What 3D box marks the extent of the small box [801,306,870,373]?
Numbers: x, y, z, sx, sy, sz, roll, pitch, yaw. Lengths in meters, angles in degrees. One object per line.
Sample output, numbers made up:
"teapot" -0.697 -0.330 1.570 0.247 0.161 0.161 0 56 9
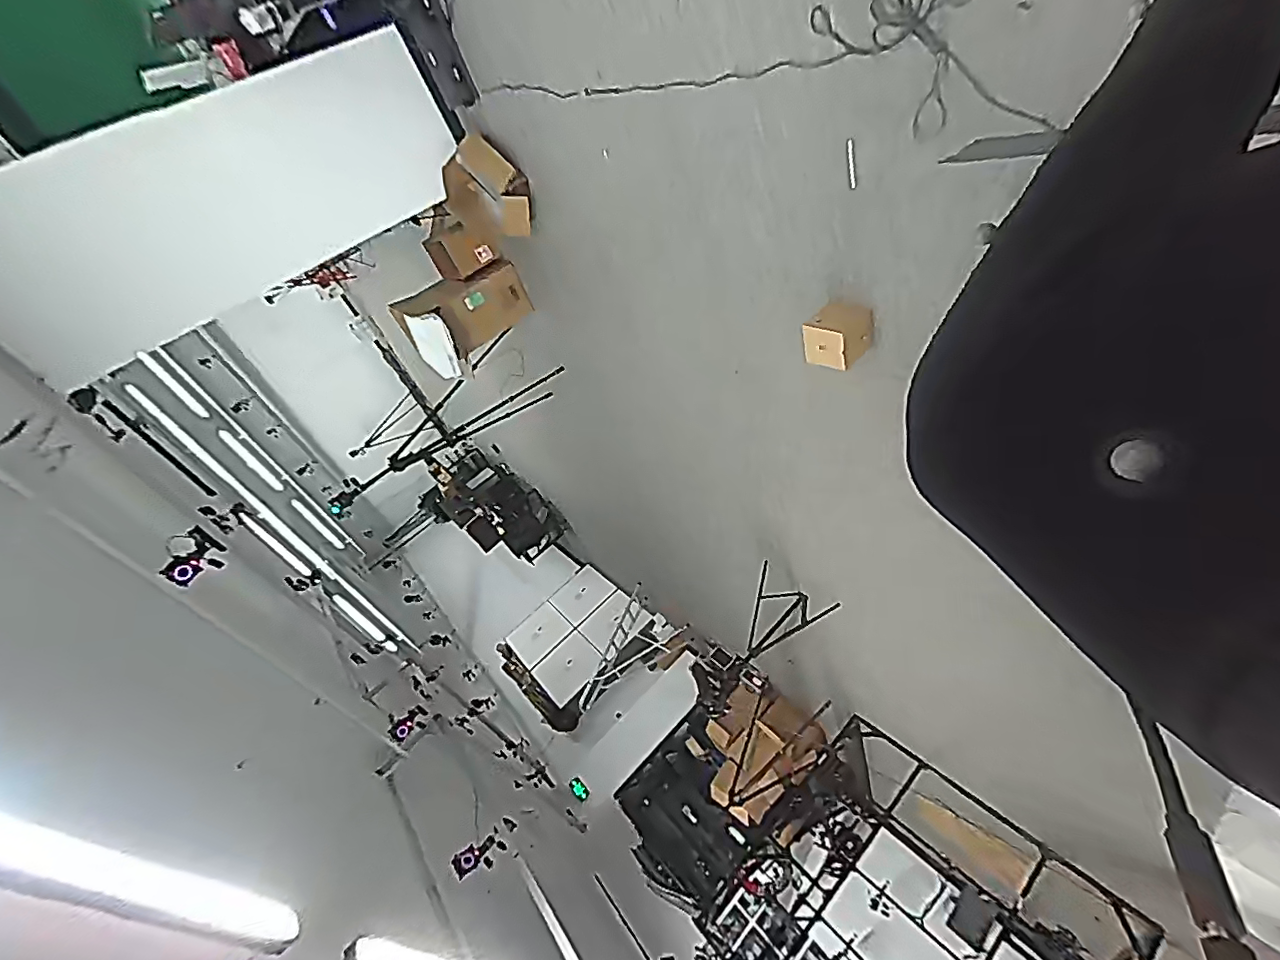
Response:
"small box" 0.728 -0.528 2.011 0.179 0.176 0.168 30 154 42
